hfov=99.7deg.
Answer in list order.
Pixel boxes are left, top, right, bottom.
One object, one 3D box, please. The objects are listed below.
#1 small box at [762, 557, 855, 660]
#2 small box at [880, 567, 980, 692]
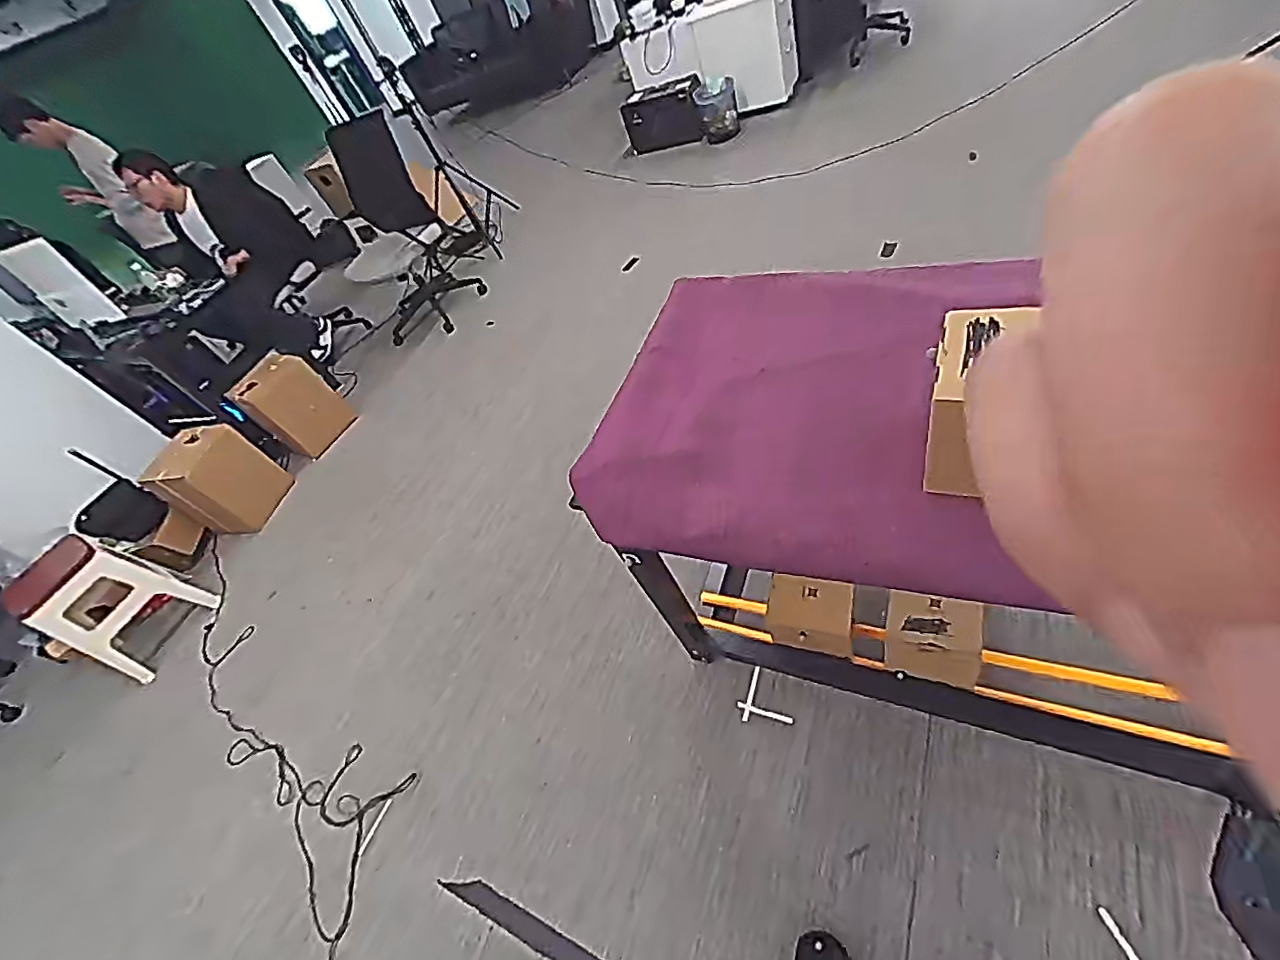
[{"bbox_3d":[0.391,0.295,1.230,0.179,0.176,0.168,3,54,26],"label":"small box"},{"bbox_3d":[0.598,0.310,1.120,0.168,0.176,0.179,5,48,28],"label":"small box"}]
